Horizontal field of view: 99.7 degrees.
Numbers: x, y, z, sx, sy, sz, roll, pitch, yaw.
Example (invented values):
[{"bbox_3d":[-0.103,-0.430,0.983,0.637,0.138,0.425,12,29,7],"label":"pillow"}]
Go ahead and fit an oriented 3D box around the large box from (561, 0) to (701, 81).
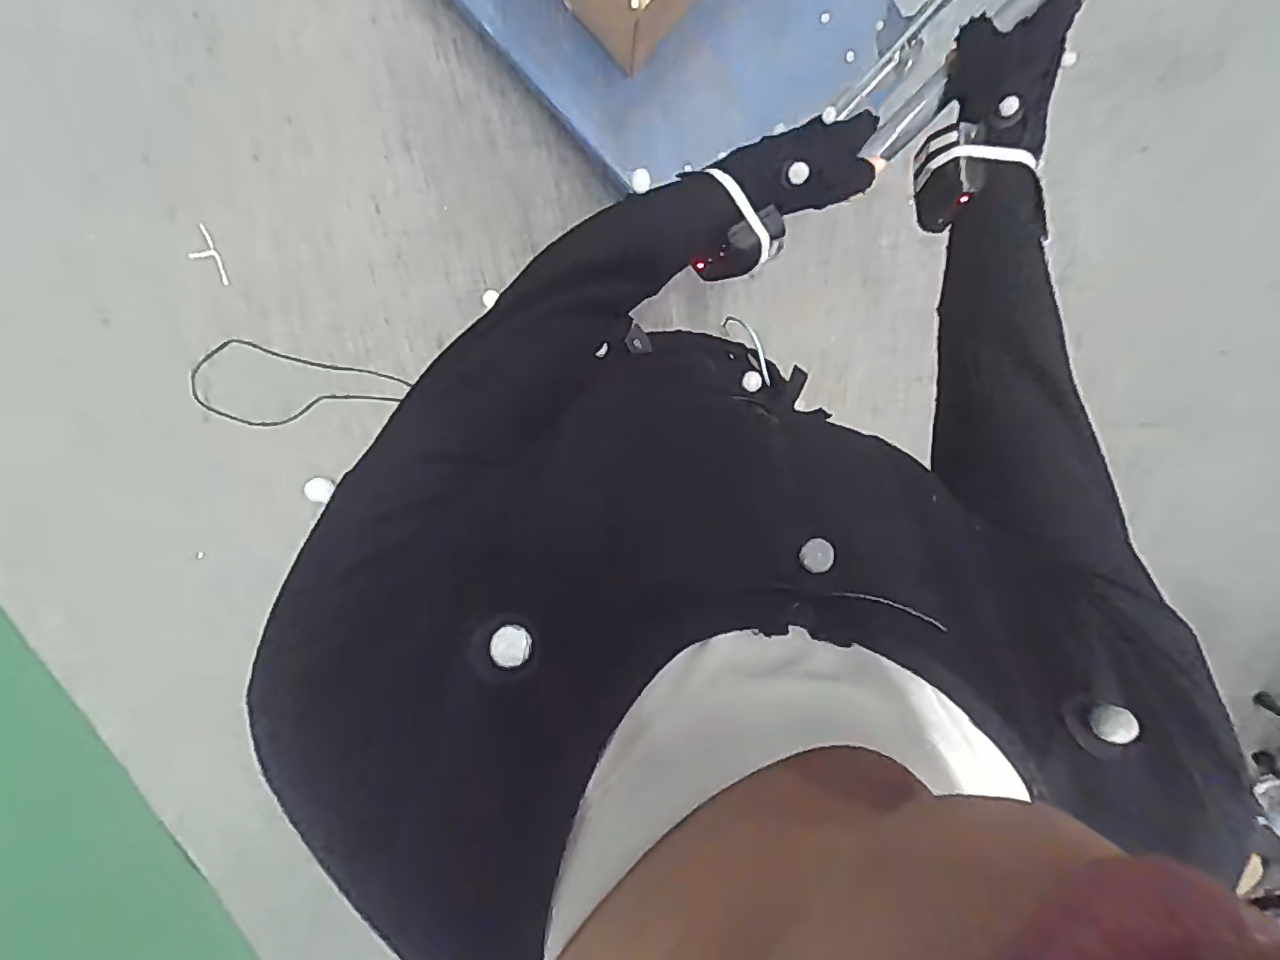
[{"bbox_3d":[0.022,-0.932,0.807,0.320,0.320,0.408,40,105,-16],"label":"large box"}]
